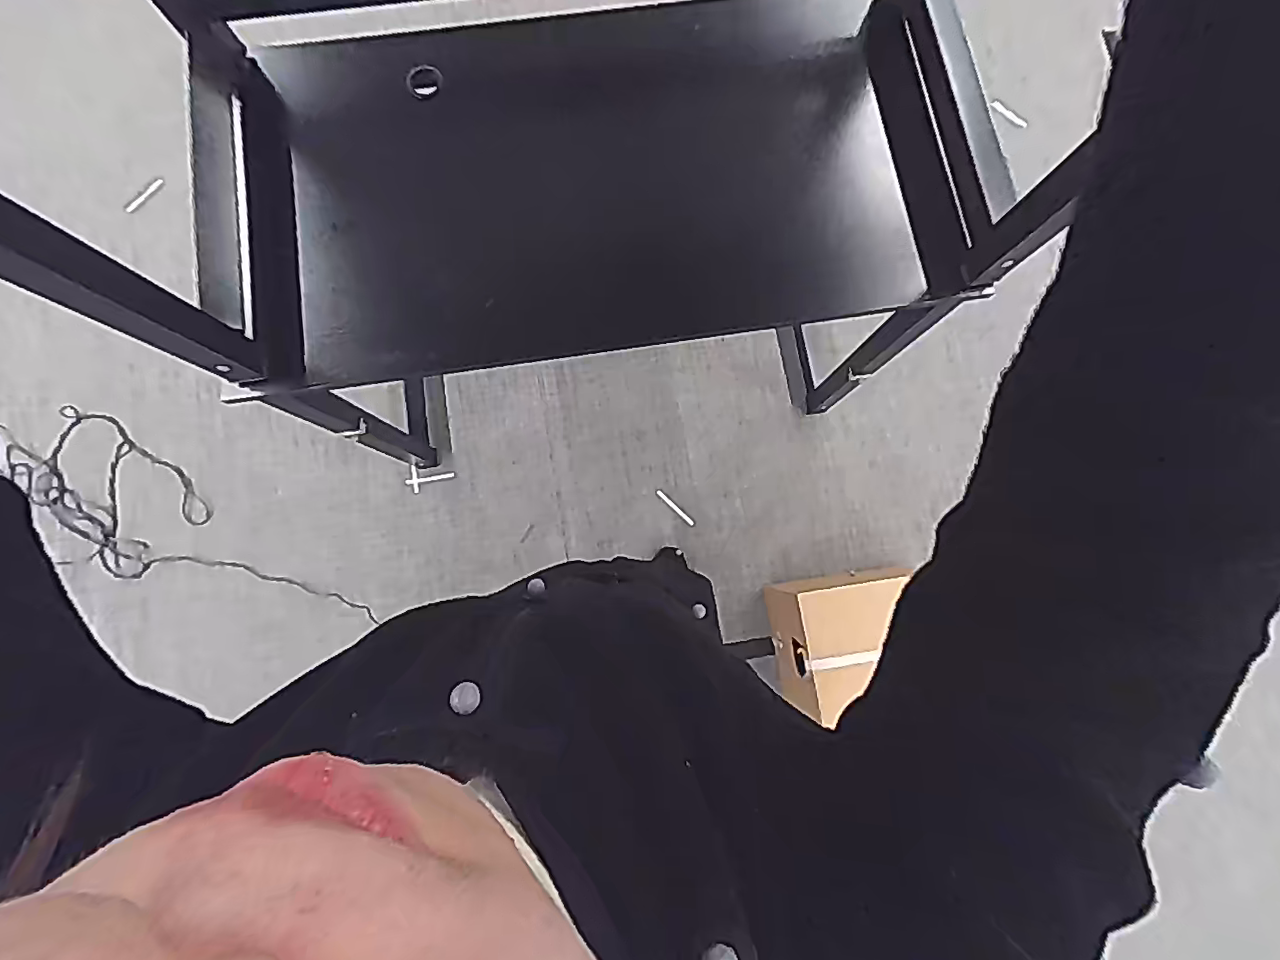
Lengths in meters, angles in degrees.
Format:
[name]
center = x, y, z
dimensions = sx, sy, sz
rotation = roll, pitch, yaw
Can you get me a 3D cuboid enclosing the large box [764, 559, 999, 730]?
[large box]
center = 0.563, 0.382, 1.340
dimensions = 0.408, 0.320, 0.320
rotation = -9, 83, -3
